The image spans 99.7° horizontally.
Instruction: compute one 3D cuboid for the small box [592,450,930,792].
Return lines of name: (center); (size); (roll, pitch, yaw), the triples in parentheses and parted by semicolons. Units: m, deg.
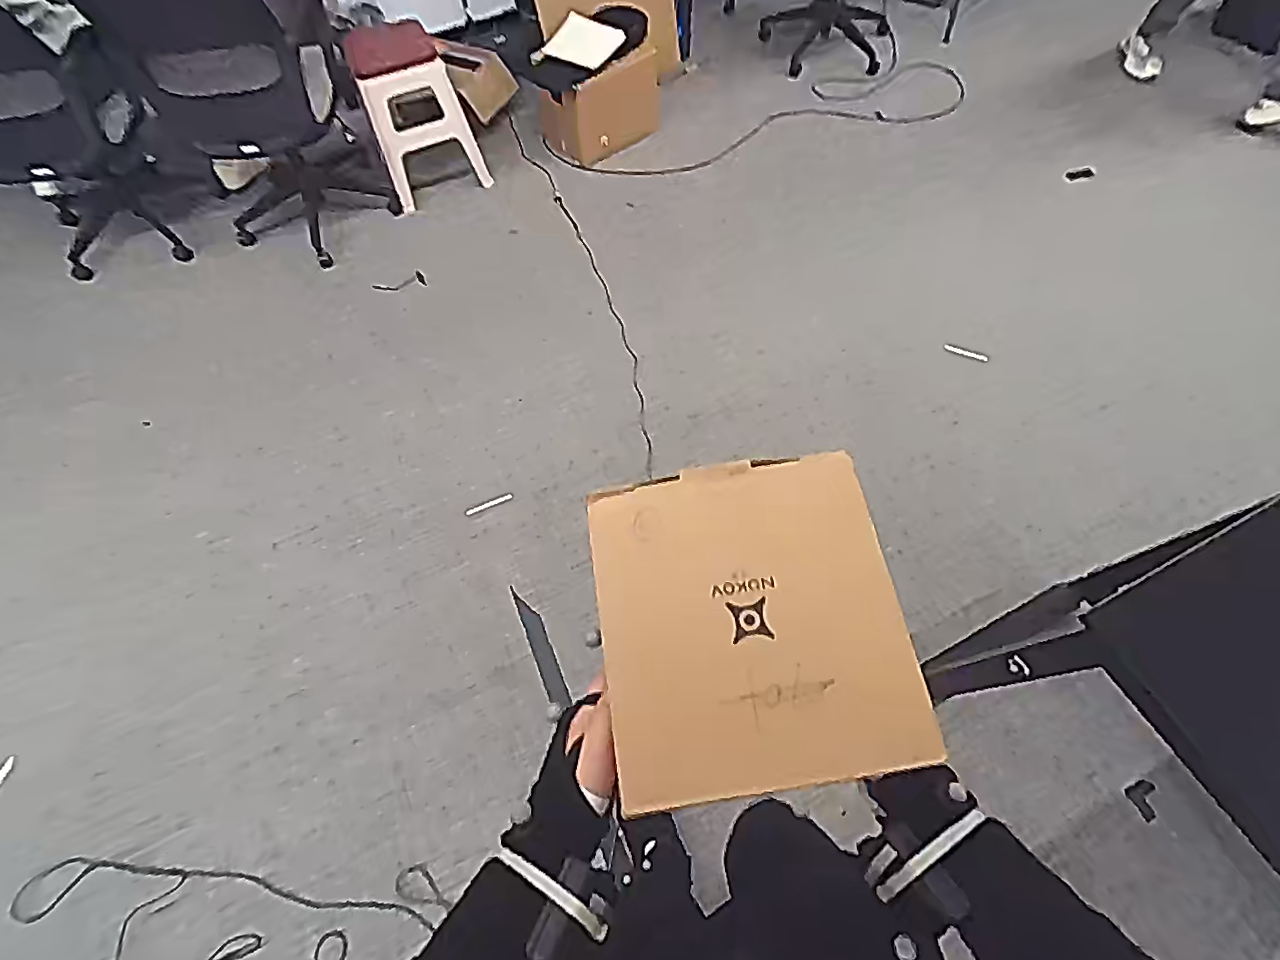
small box: (0.064, 0.100, 0.386); (0.168, 0.176, 0.179); (-9, 69, 0)
